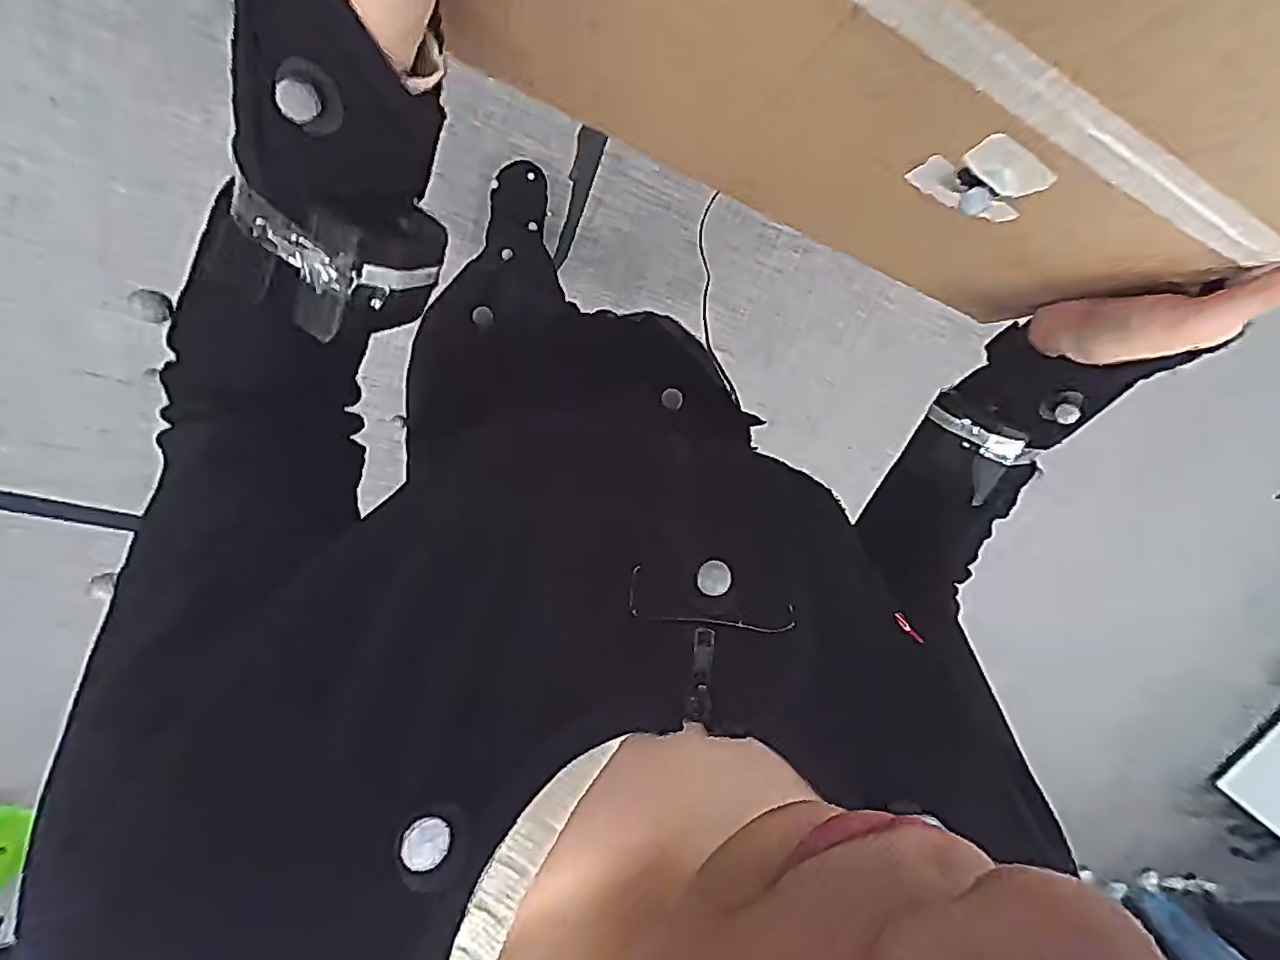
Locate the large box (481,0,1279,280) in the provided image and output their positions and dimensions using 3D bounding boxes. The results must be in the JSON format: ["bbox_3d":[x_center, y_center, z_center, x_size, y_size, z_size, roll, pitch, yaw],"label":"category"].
[{"bbox_3d":[0.162,-0.315,0.159,0.408,0.320,0.320,16,92,-18],"label":"large box"}]
